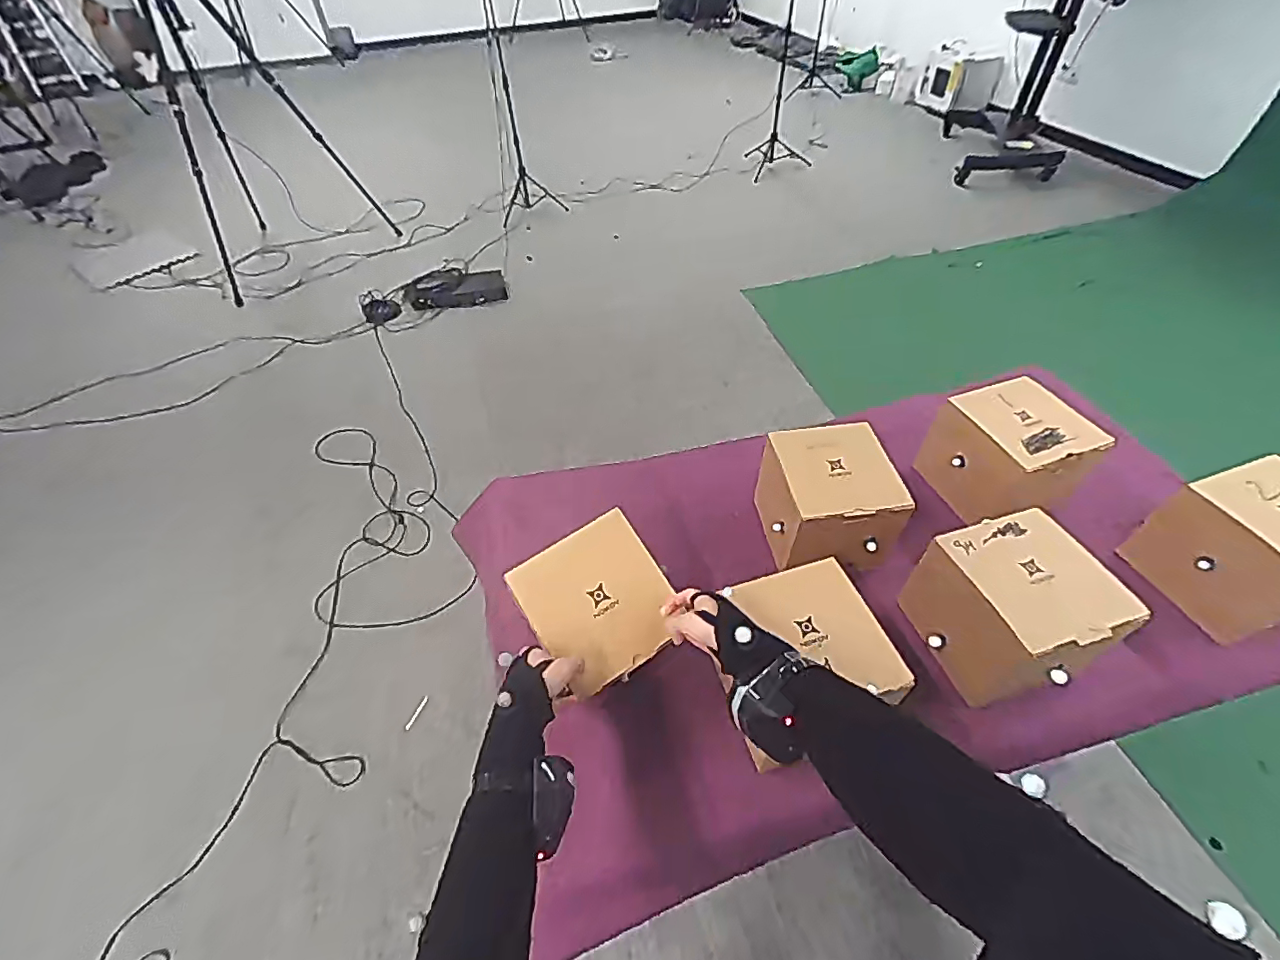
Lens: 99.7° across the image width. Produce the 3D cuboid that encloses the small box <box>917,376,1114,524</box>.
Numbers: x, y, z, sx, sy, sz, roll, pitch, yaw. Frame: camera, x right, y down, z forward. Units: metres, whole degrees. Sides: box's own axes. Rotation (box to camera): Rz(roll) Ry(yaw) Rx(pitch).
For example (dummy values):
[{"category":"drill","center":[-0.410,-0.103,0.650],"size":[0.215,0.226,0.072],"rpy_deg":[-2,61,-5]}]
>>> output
[{"category":"small box","center":[0.606,-0.041,0.901],"size":[0.168,0.176,0.179],"rpy_deg":[-15,49,-10]}]

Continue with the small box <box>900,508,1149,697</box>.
[{"category":"small box","center":[0.487,0.169,0.719],"size":[0.168,0.176,0.179],"rpy_deg":[-13,49,-9]}]

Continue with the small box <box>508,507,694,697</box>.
[{"category":"small box","center":[-0.058,0.168,0.714],"size":[0.168,0.176,0.179],"rpy_deg":[-29,75,-18]}]

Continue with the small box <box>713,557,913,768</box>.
[{"category":"small box","center":[0.197,0.230,0.682],"size":[0.168,0.176,0.179],"rpy_deg":[-15,49,-8]}]
